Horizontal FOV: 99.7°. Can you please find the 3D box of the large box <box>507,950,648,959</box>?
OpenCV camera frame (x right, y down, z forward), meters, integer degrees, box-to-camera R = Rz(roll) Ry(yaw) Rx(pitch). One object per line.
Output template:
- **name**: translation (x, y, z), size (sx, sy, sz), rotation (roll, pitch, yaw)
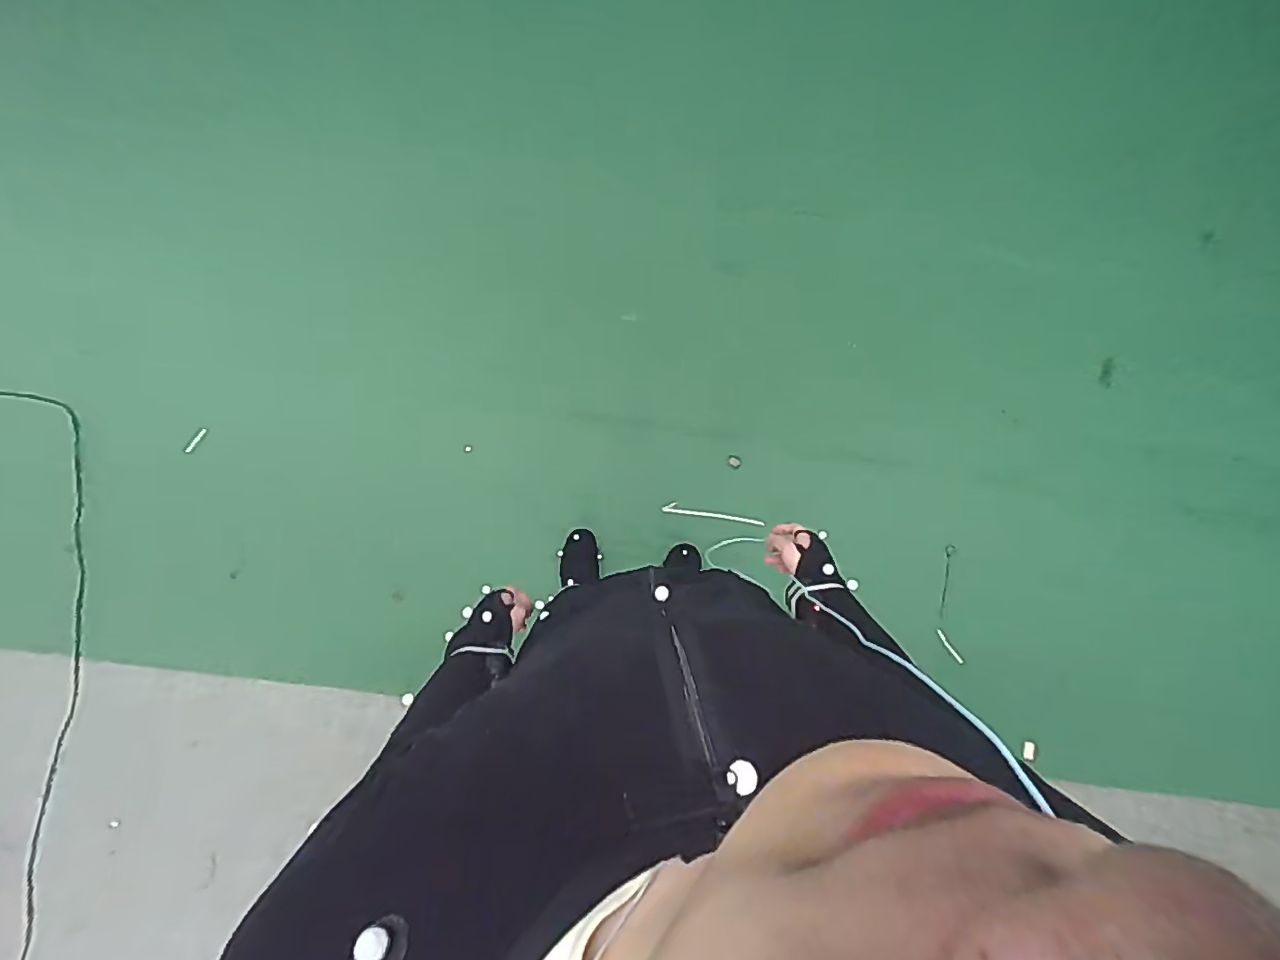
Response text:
- **large box**: translation (-0.175, 1.460, 1.353), size (0.408, 0.320, 0.320), rotation (5, 83, -1)
